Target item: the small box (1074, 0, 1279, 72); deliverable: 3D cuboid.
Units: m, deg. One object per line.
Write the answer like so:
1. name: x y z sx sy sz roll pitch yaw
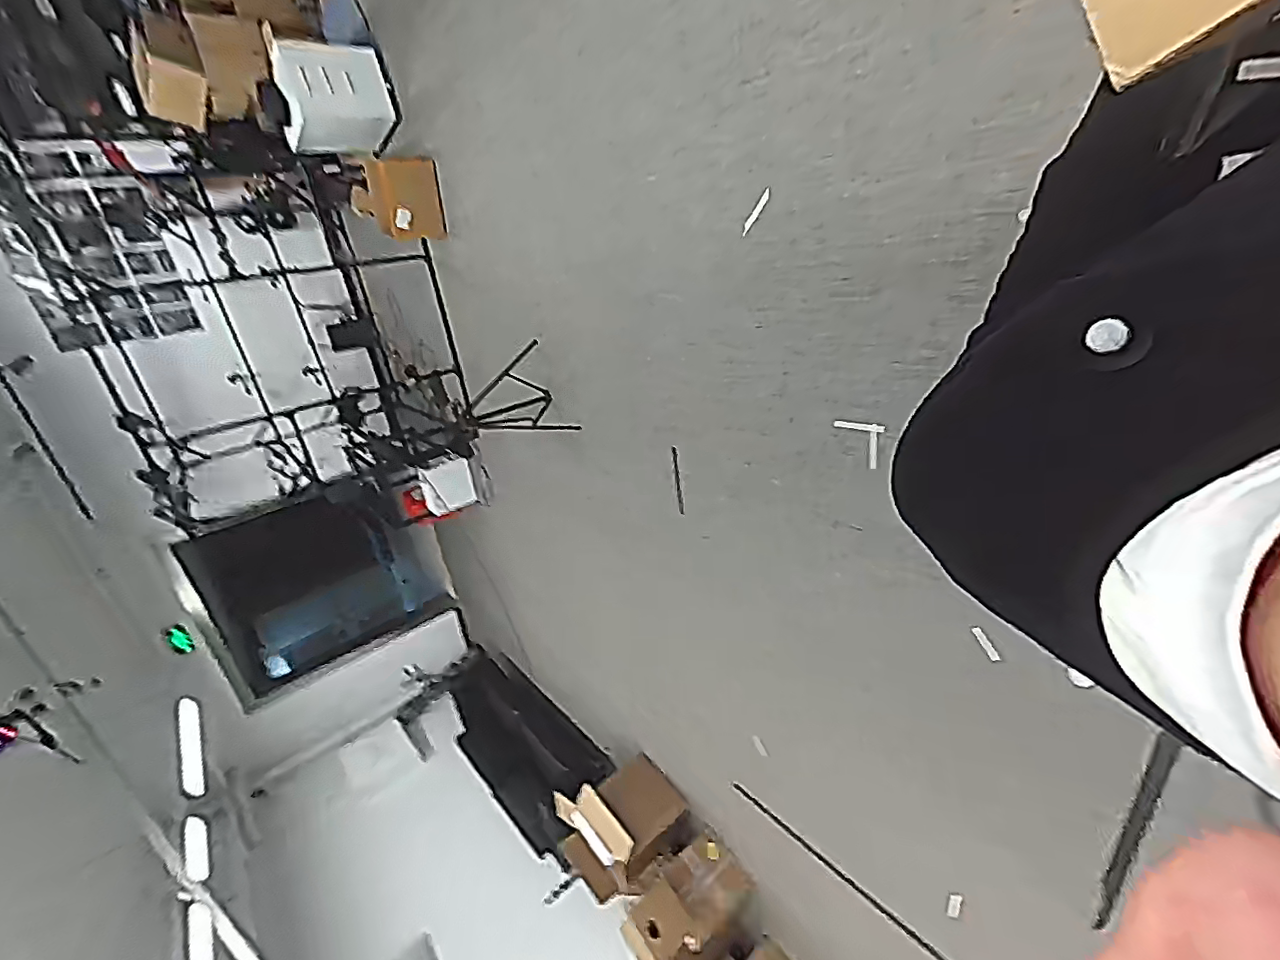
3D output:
1. small box: 0.249 -0.282 0.166 0.179 0.176 0.168 62 159 -8
